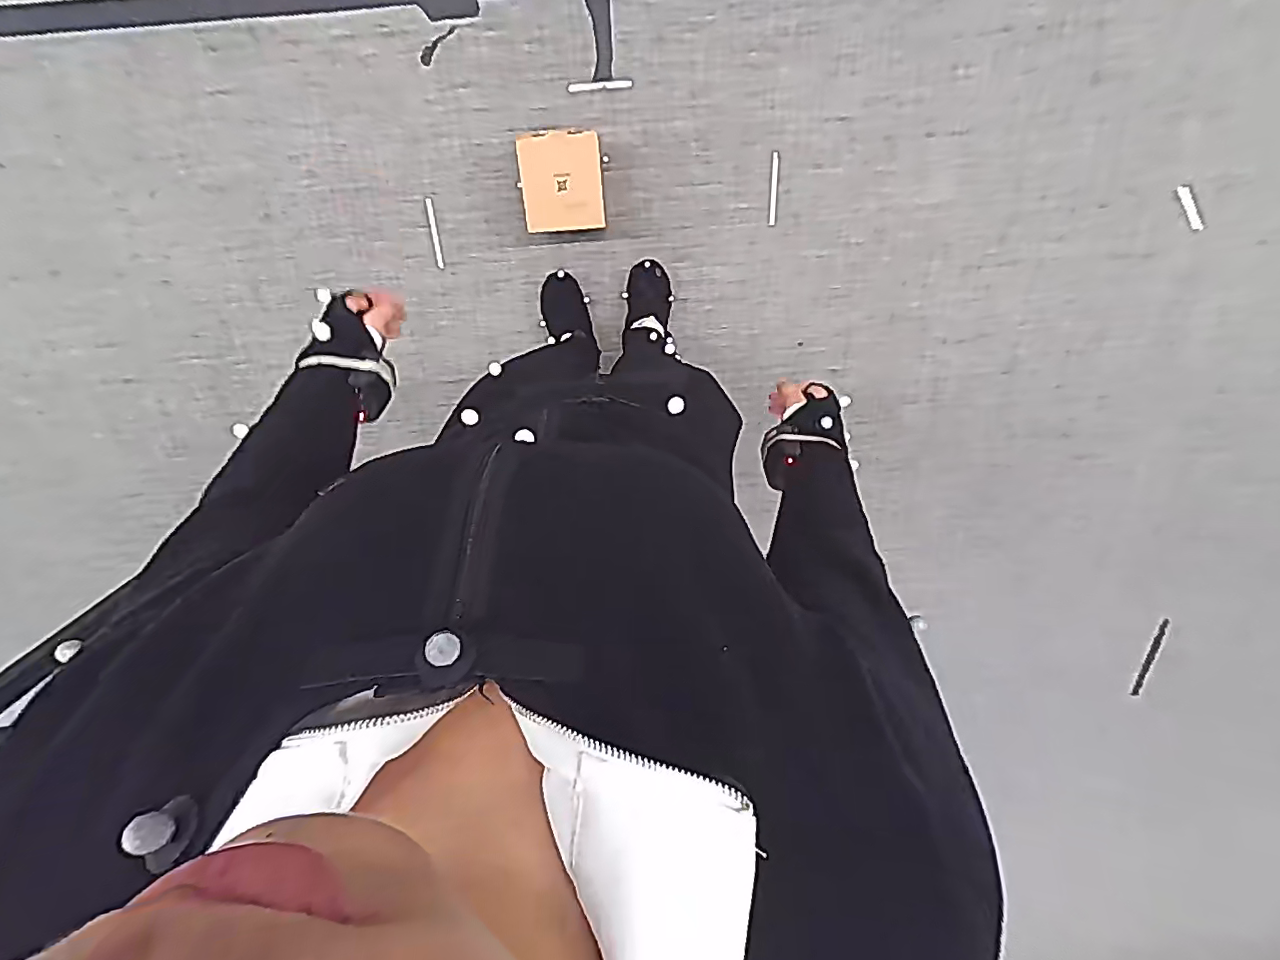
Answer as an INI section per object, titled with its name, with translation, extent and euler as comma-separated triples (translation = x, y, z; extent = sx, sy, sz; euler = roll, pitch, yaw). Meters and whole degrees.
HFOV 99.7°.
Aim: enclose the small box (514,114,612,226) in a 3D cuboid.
[small box]
translation = -0.146, -0.612, 1.082
extent = 0.168, 0.176, 0.179
euler = -4, 118, 1
